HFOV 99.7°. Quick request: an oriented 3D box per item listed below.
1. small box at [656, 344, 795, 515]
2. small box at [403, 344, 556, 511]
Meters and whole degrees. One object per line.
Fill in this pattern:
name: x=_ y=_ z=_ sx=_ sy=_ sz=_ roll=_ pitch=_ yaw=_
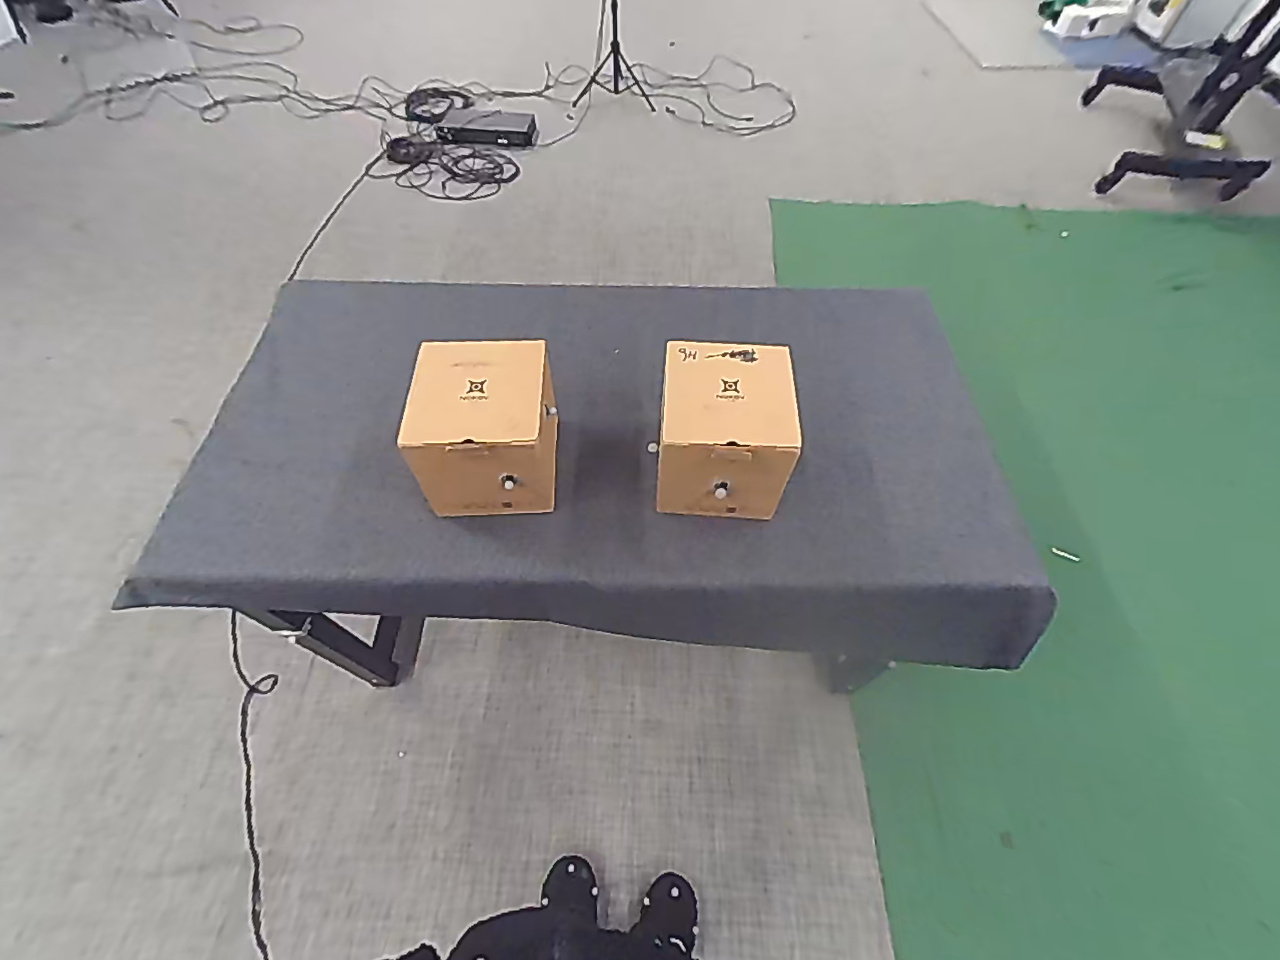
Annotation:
small box: x=0.110 y=-0.065 z=0.756 sx=0.168 sy=0.176 sz=0.179 roll=3 pitch=57 yaw=1
small box: x=-0.207 y=-0.066 z=0.752 sx=0.168 sy=0.176 sz=0.179 roll=-2 pitch=55 yaw=-4
